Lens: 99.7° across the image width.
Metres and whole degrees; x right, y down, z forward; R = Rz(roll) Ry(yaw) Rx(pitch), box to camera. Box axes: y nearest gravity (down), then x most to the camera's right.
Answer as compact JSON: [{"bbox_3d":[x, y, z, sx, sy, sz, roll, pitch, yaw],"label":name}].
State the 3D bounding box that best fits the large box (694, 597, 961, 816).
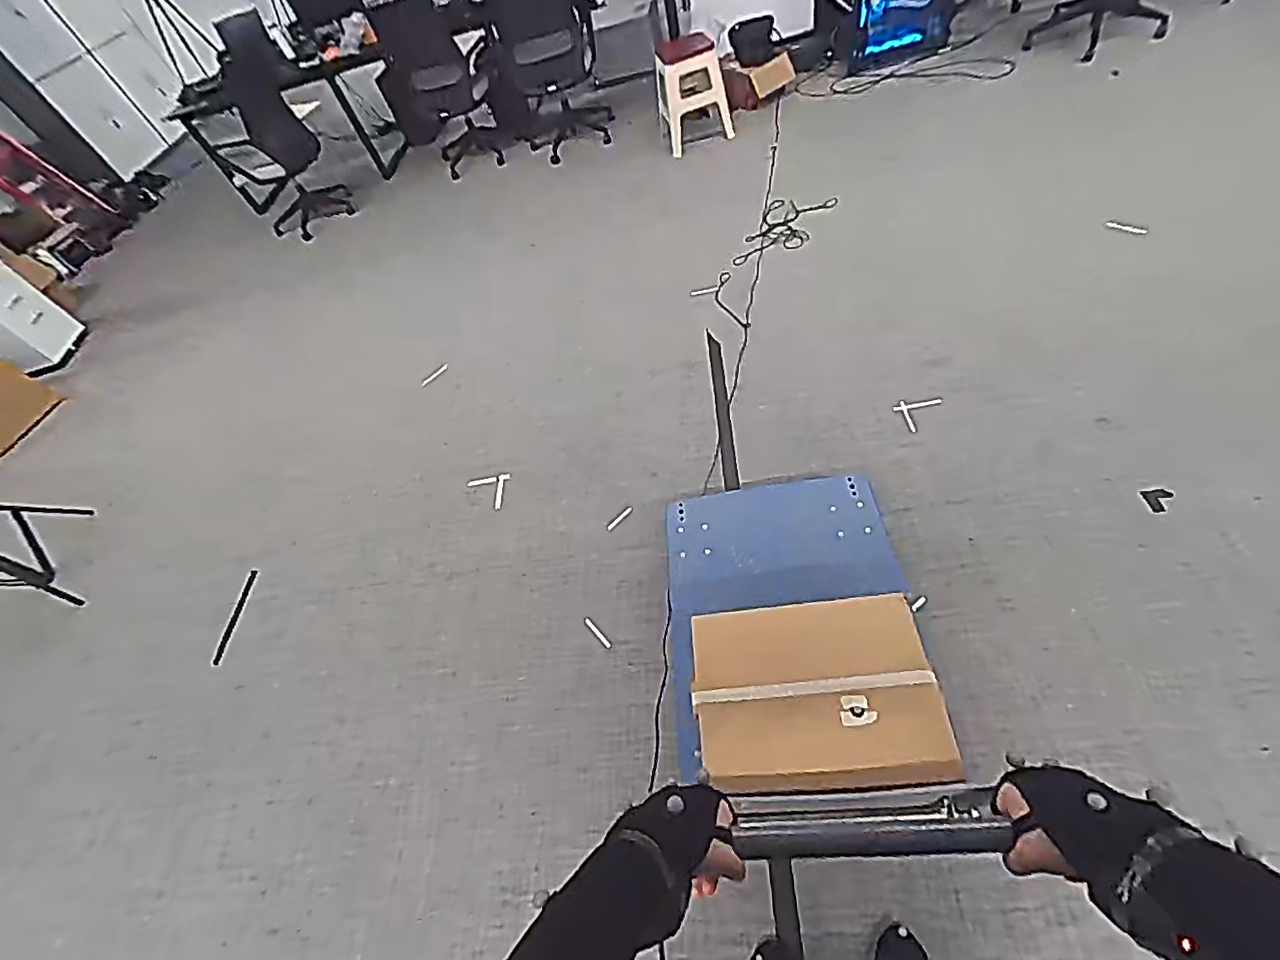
[{"bbox_3d":[0.336,0.462,1.077,0.408,0.320,0.320,-9,53,9],"label":"large box"}]
